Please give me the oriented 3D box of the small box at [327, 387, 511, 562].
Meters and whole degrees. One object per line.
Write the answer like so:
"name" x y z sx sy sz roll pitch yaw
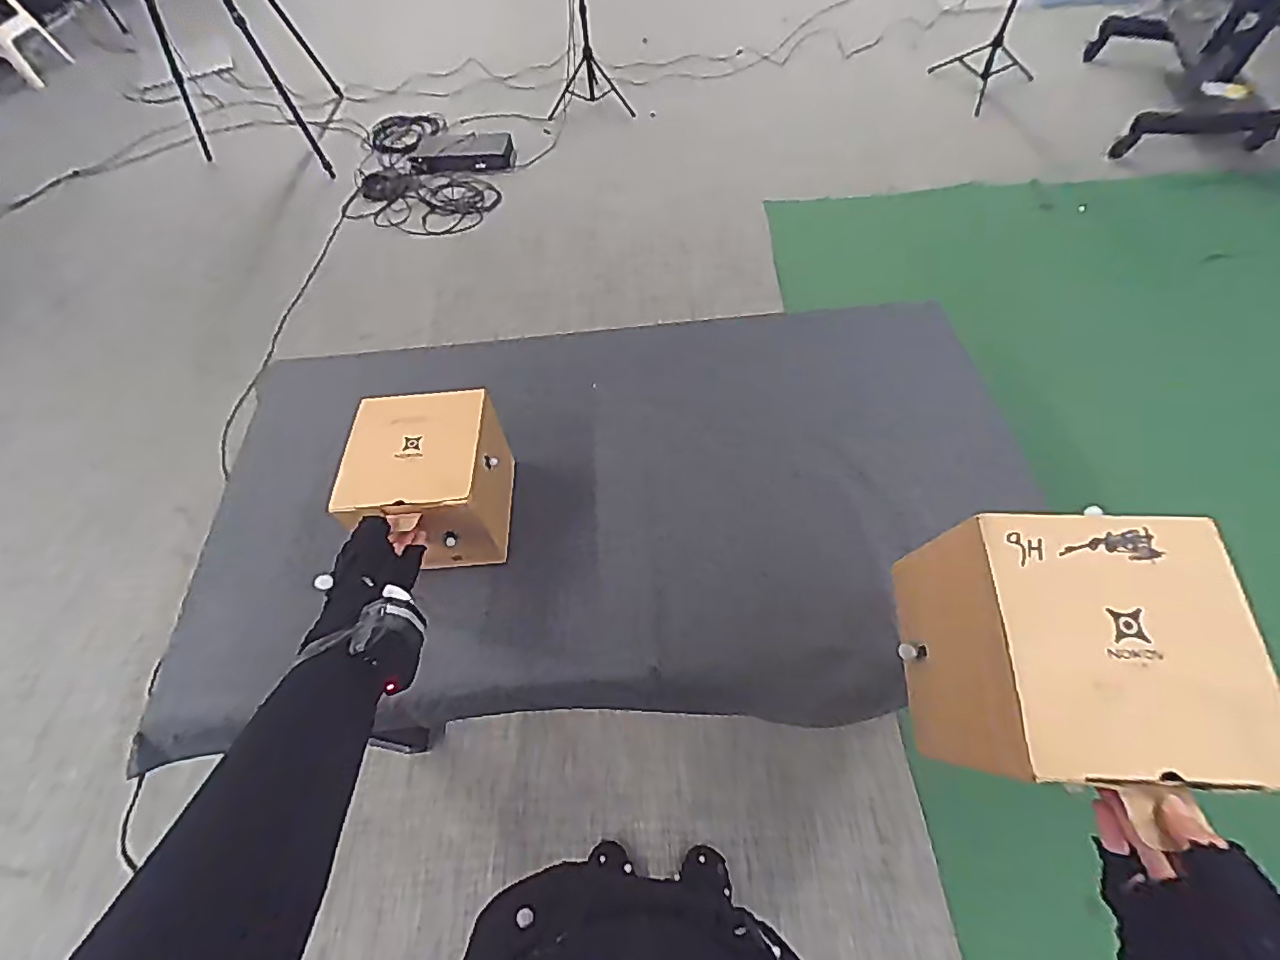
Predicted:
"small box" -0.276 0.001 0.725 0.168 0.176 0.179 -4 55 0
